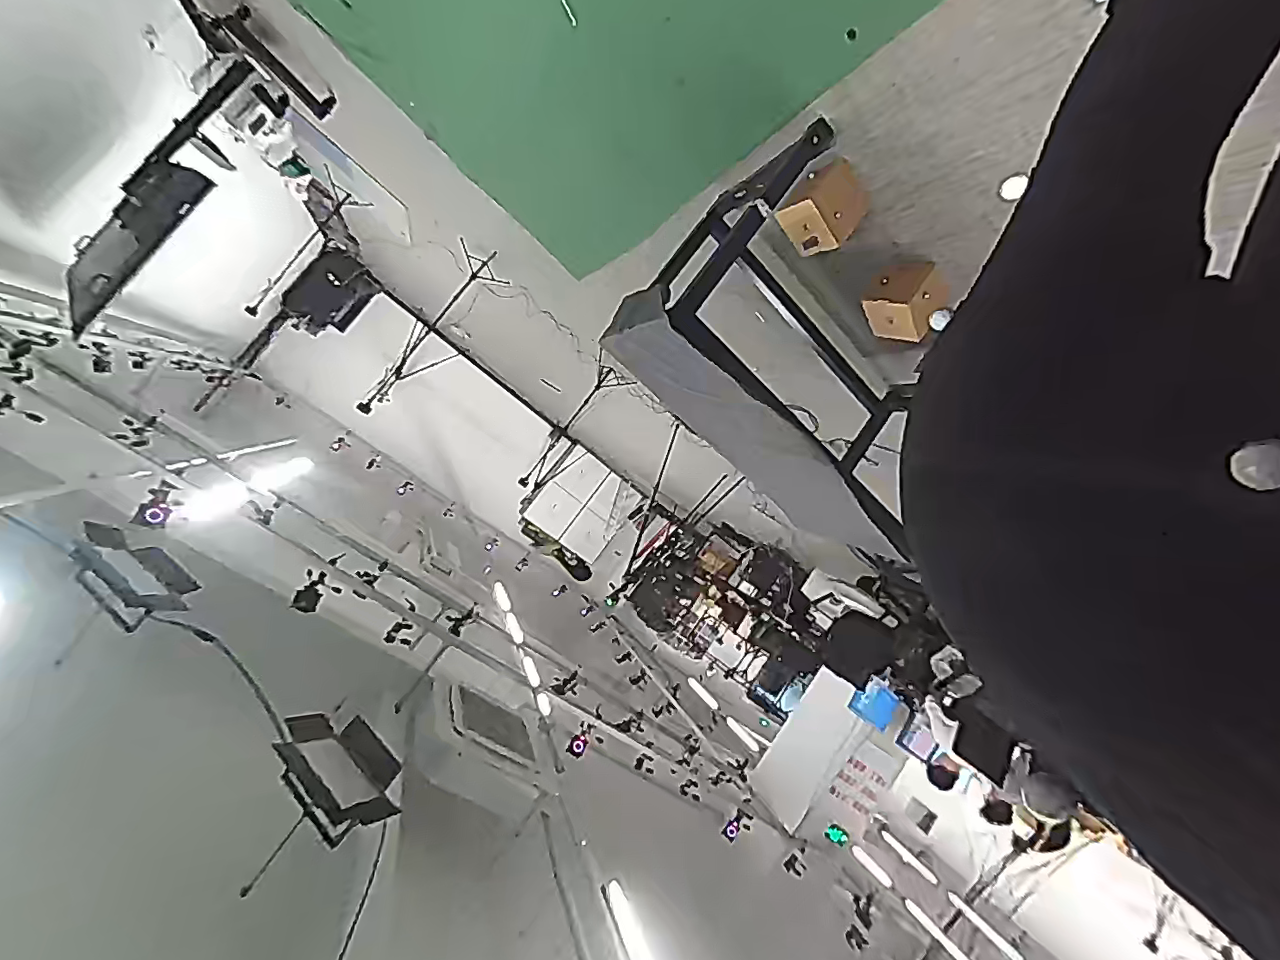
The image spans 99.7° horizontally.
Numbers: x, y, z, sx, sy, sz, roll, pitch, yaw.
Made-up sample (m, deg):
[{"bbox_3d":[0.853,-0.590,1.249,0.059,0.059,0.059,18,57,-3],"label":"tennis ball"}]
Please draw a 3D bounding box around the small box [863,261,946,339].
[{"bbox_3d":[0.864,-0.591,1.760,0.168,0.176,0.179,29,171,48],"label":"small box"}]

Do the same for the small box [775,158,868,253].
[{"bbox_3d":[0.555,-0.831,1.647,0.179,0.176,0.168,41,171,-27],"label":"small box"}]
